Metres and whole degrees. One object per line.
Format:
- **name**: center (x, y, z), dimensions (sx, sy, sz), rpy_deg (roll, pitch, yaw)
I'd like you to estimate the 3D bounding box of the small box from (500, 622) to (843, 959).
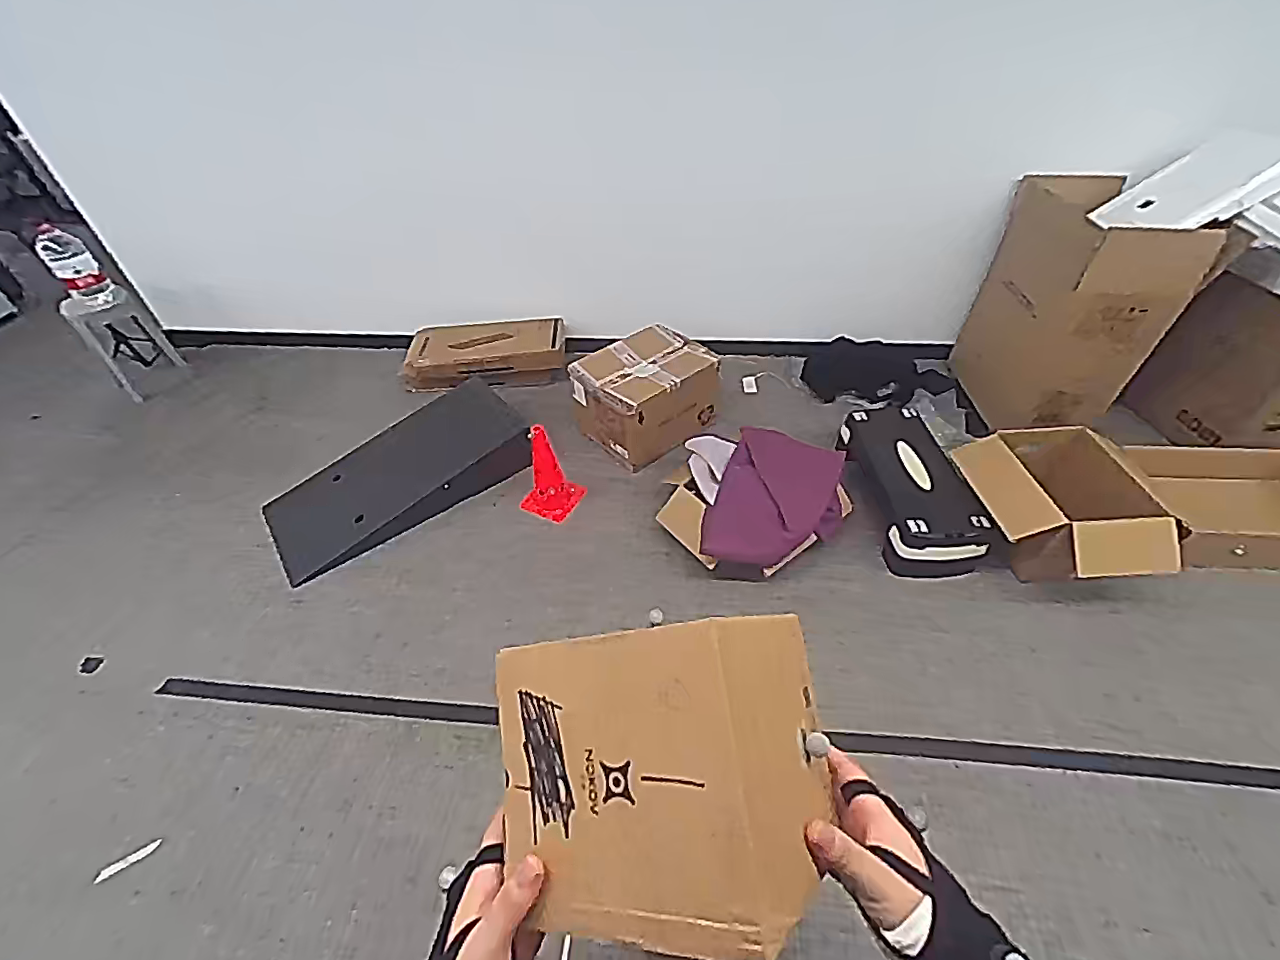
- **small box**: center (0.024, 0.196, 0.386), dimensions (0.179, 0.176, 0.168), rpy_deg (-17, 70, 27)
